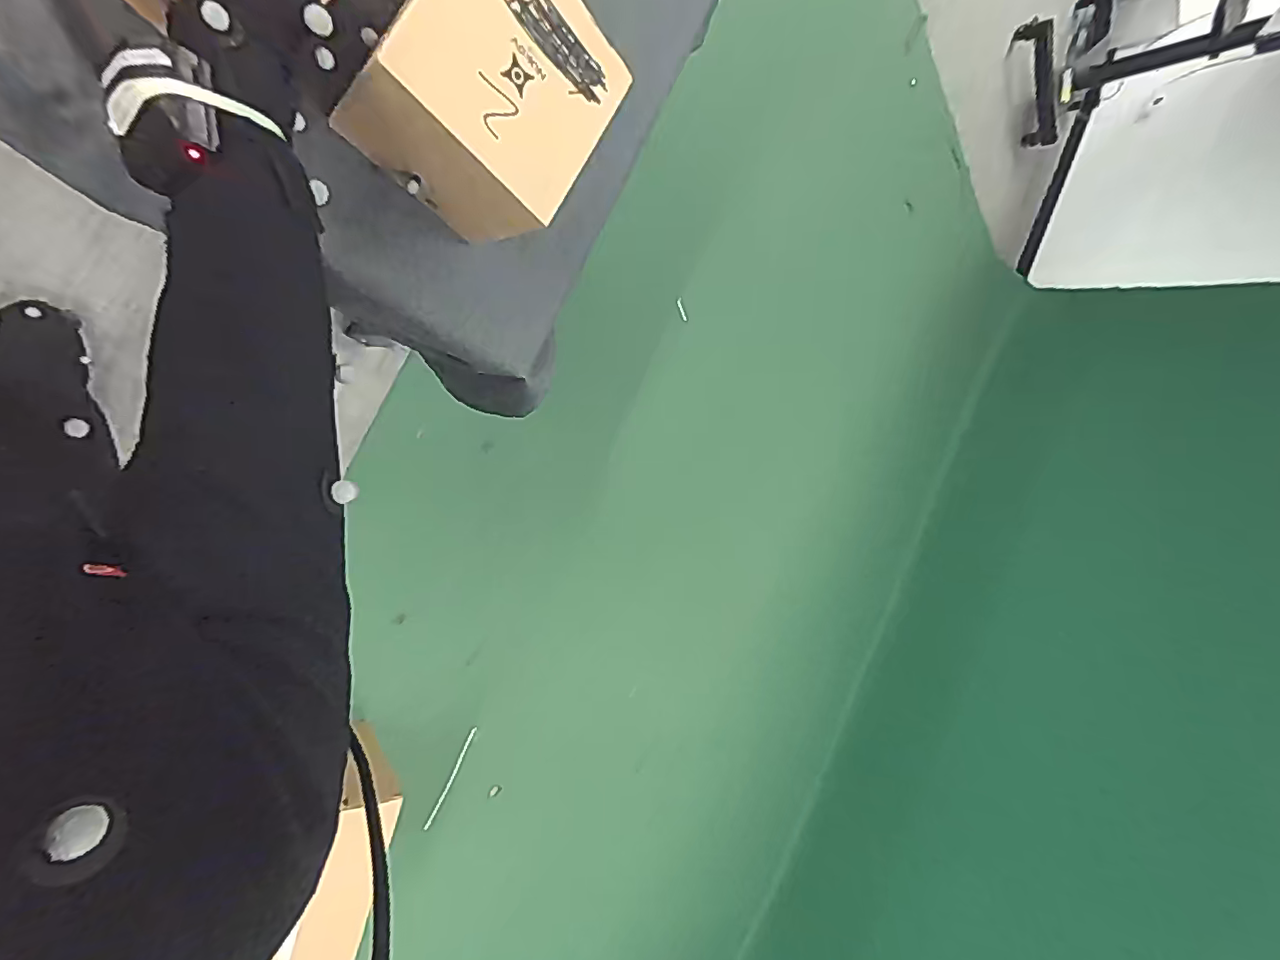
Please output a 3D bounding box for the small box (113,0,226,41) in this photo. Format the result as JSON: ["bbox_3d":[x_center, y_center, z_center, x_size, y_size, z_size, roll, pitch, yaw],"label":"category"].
[{"bbox_3d":[-0.326,-0.429,0.326,0.179,0.176,0.168,39,75,-42],"label":"small box"}]
